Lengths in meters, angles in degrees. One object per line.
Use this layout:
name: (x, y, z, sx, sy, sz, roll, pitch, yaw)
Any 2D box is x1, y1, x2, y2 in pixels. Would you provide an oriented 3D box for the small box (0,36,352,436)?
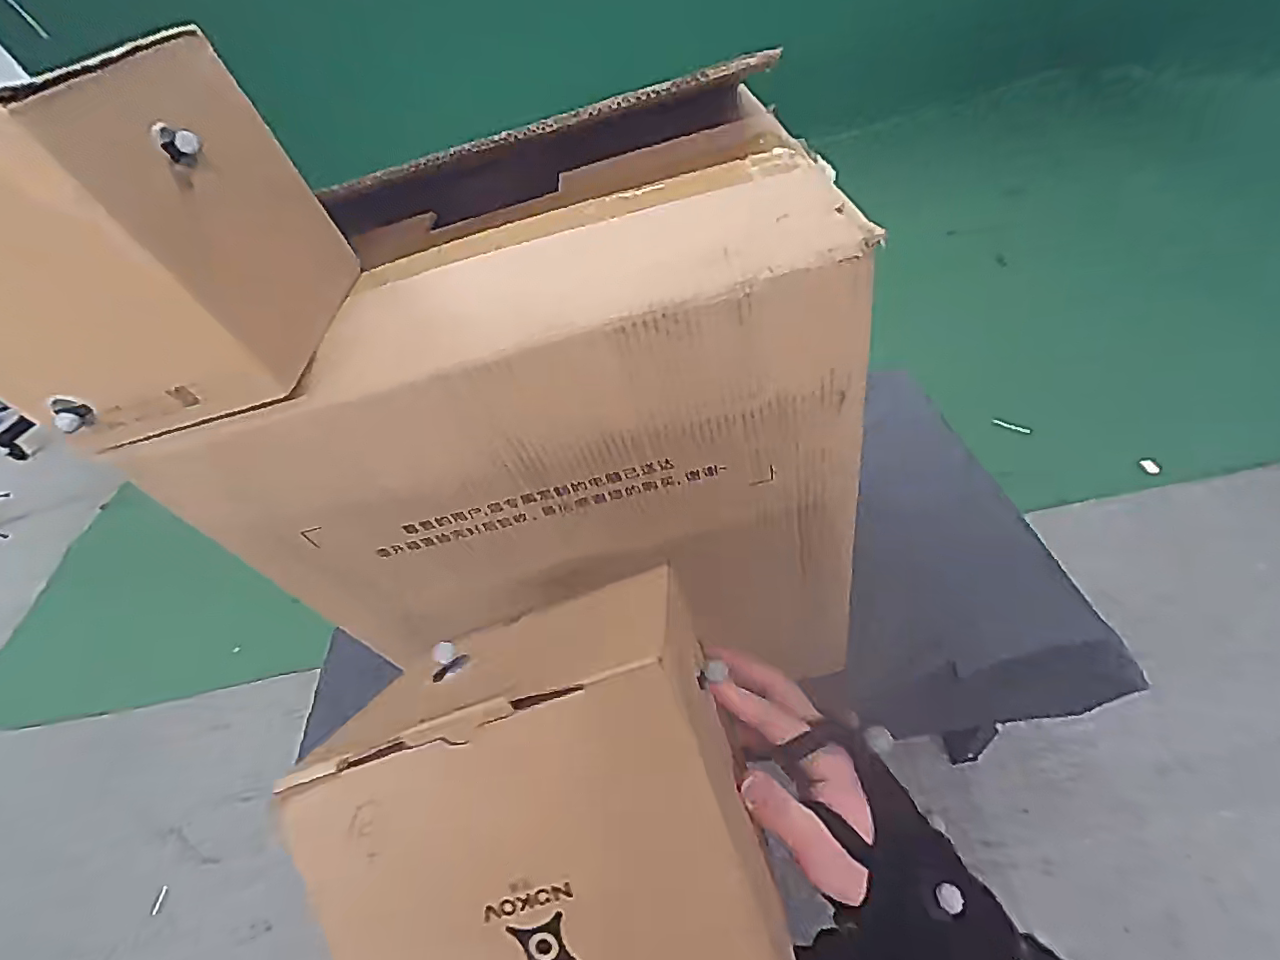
small box: (-0.330, -0.147, 0.358, 0.168, 0.176, 0.179, -13, 47, 9)
